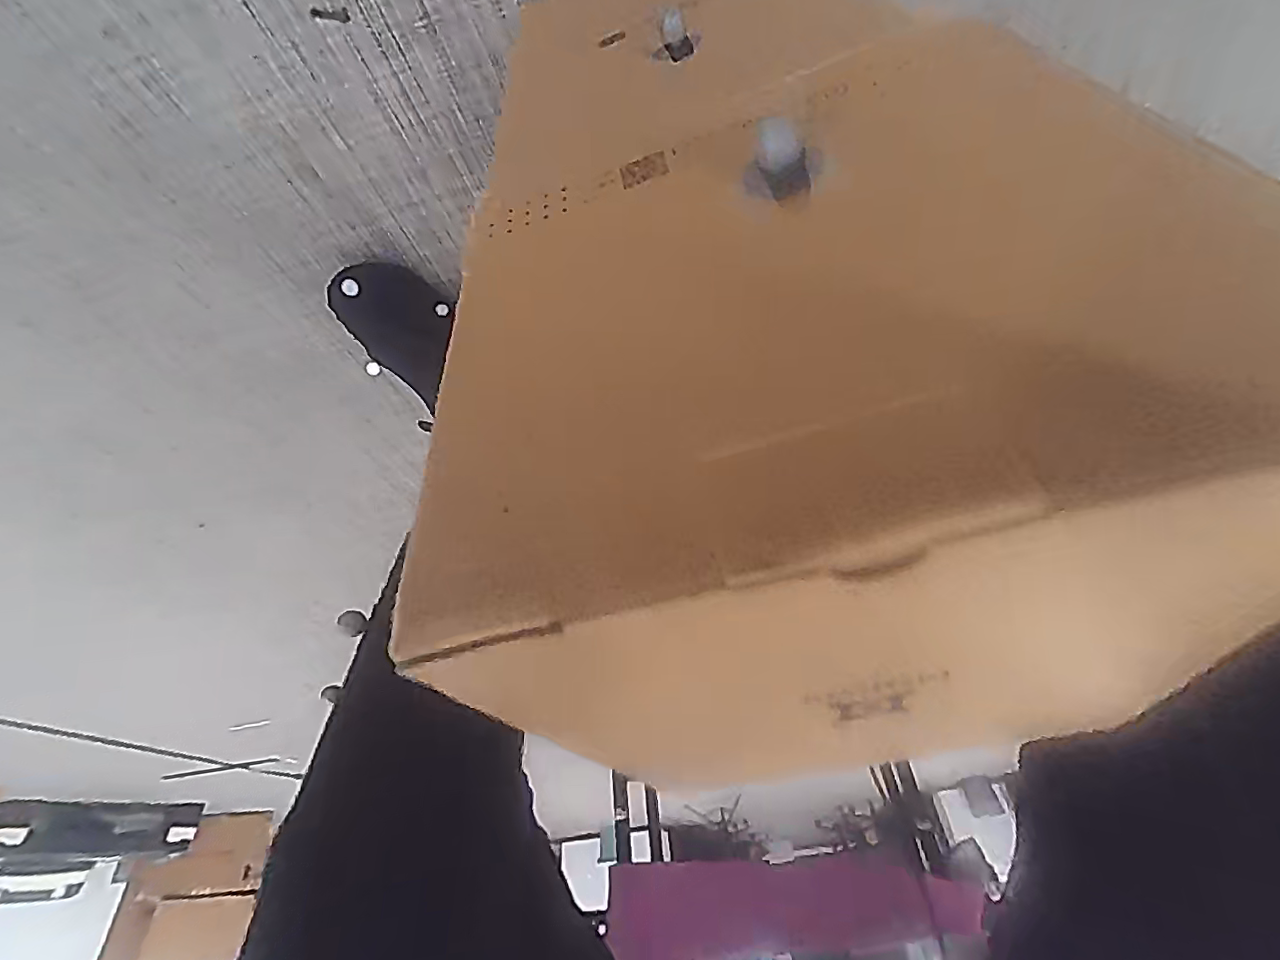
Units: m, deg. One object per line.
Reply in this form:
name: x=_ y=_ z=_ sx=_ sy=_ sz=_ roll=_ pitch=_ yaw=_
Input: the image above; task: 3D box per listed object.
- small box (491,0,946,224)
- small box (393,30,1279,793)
small box: x=0.037 y=-0.129 z=0.296 sx=0.168 sy=0.176 sz=0.179 roll=-15 pitch=141 yaw=11
small box: x=0.053 y=-0.006 z=0.190 sx=0.168 sy=0.176 sz=0.179 roll=-16 pitch=140 yaw=11
